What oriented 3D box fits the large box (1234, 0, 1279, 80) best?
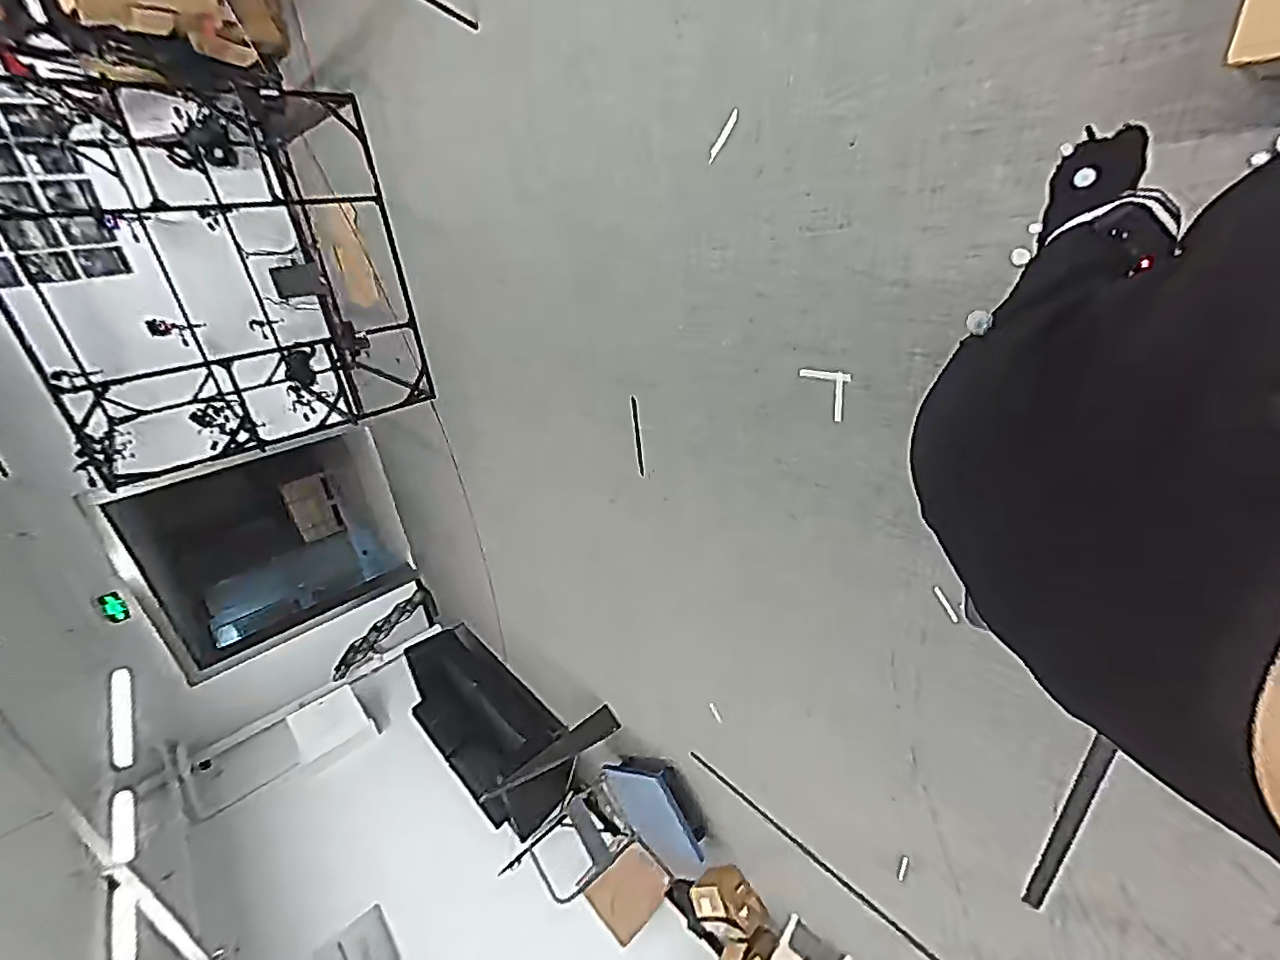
[{"bbox_3d":[1.024,-0.701,0.617,0.408,0.320,0.320,22,127,43],"label":"large box"}]
